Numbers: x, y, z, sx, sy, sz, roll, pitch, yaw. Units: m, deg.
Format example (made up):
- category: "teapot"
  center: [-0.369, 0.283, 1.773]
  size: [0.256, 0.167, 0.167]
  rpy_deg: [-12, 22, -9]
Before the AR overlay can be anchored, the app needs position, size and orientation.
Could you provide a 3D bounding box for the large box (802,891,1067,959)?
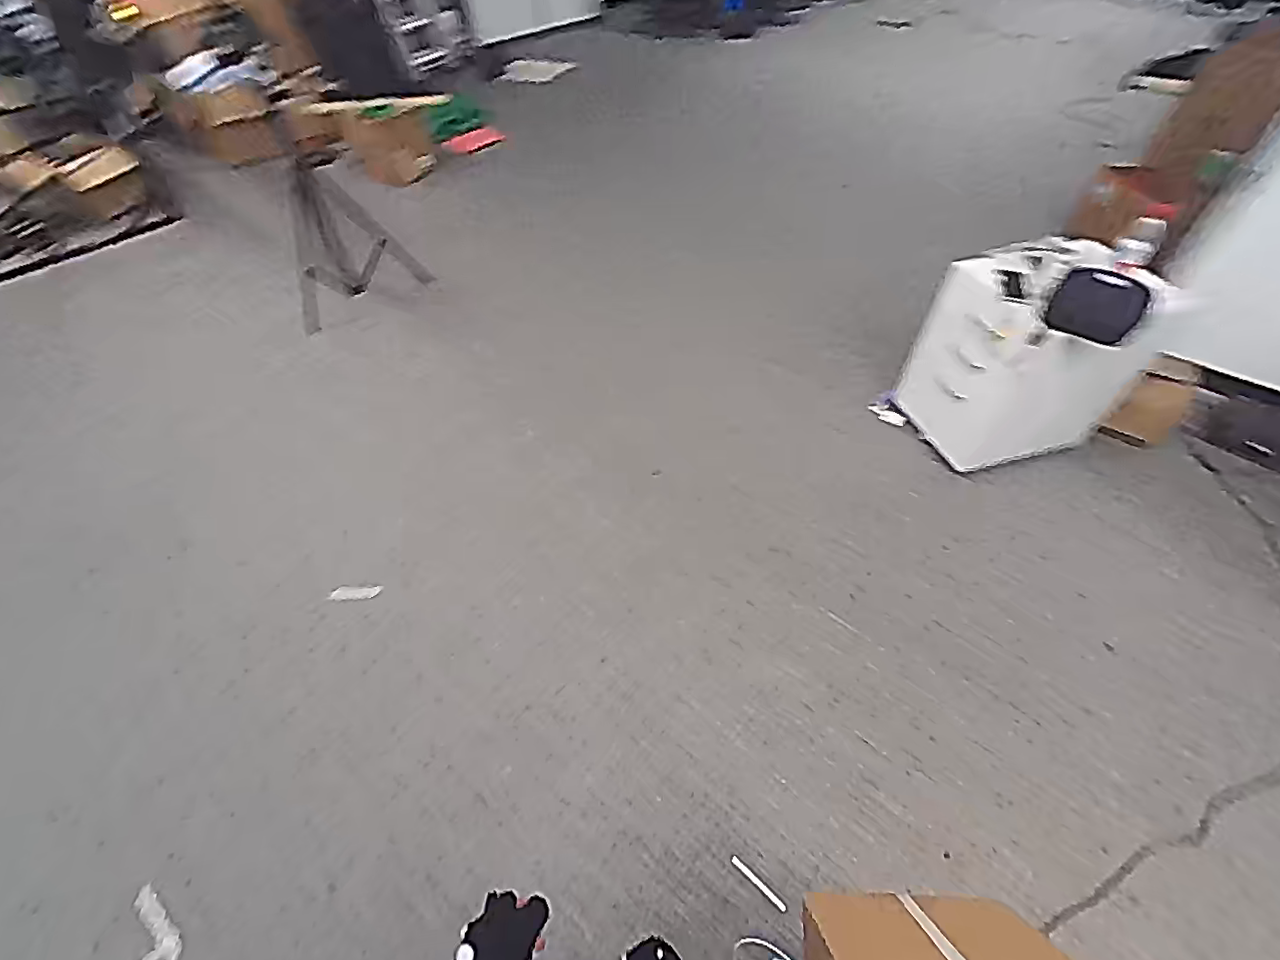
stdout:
- category: "large box"
  center: [0.401, 0.757, 0.625]
  size: [0.320, 0.408, 0.320]
  rpy_deg: [-1, 77, 1]
